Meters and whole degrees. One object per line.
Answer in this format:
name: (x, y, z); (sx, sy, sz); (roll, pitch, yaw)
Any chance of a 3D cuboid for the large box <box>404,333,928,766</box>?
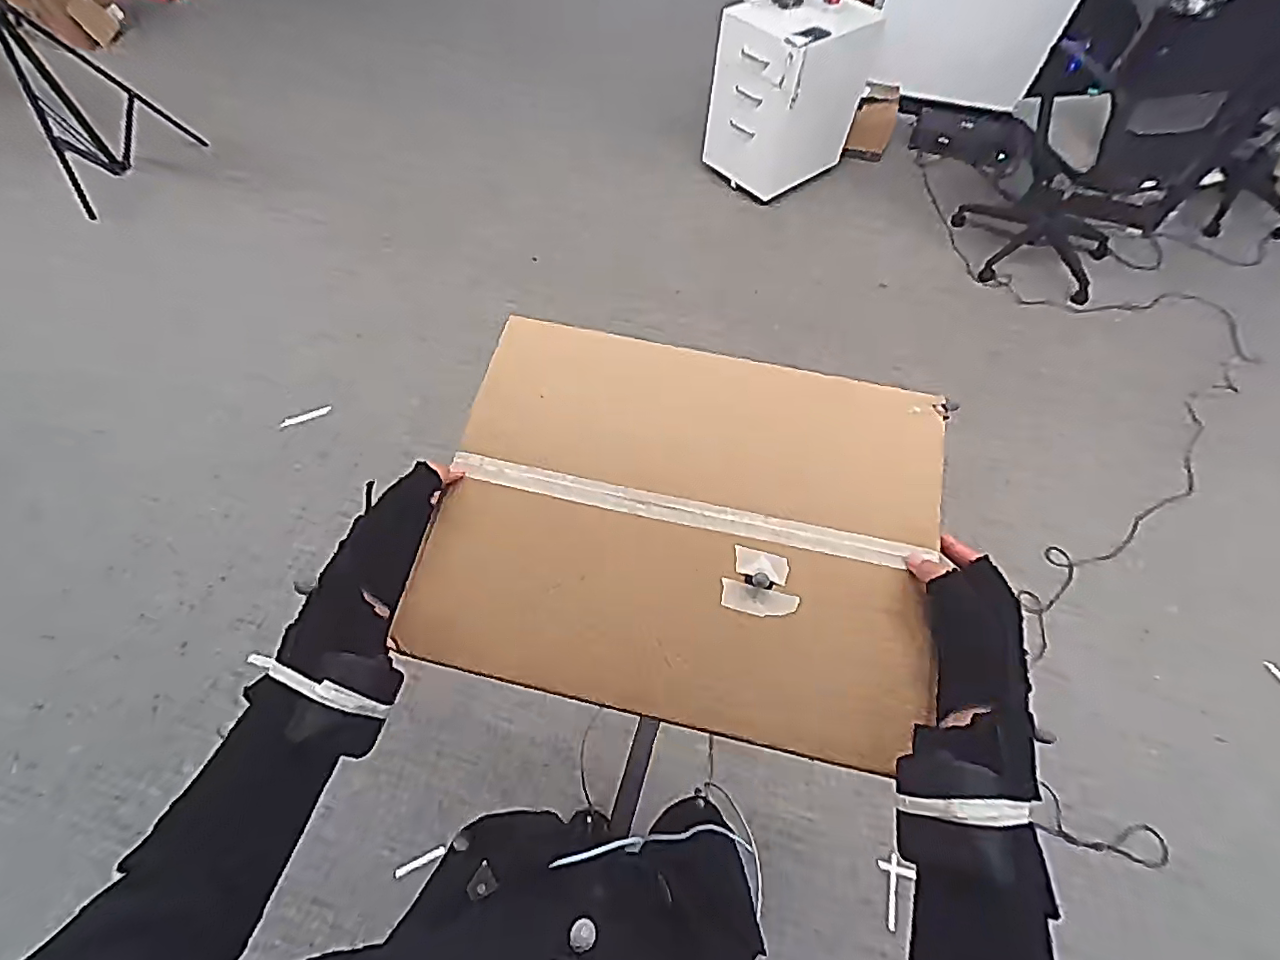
large box: (0.037, 0.085, 0.595); (0.408, 0.320, 0.320); (12, 70, 4)
